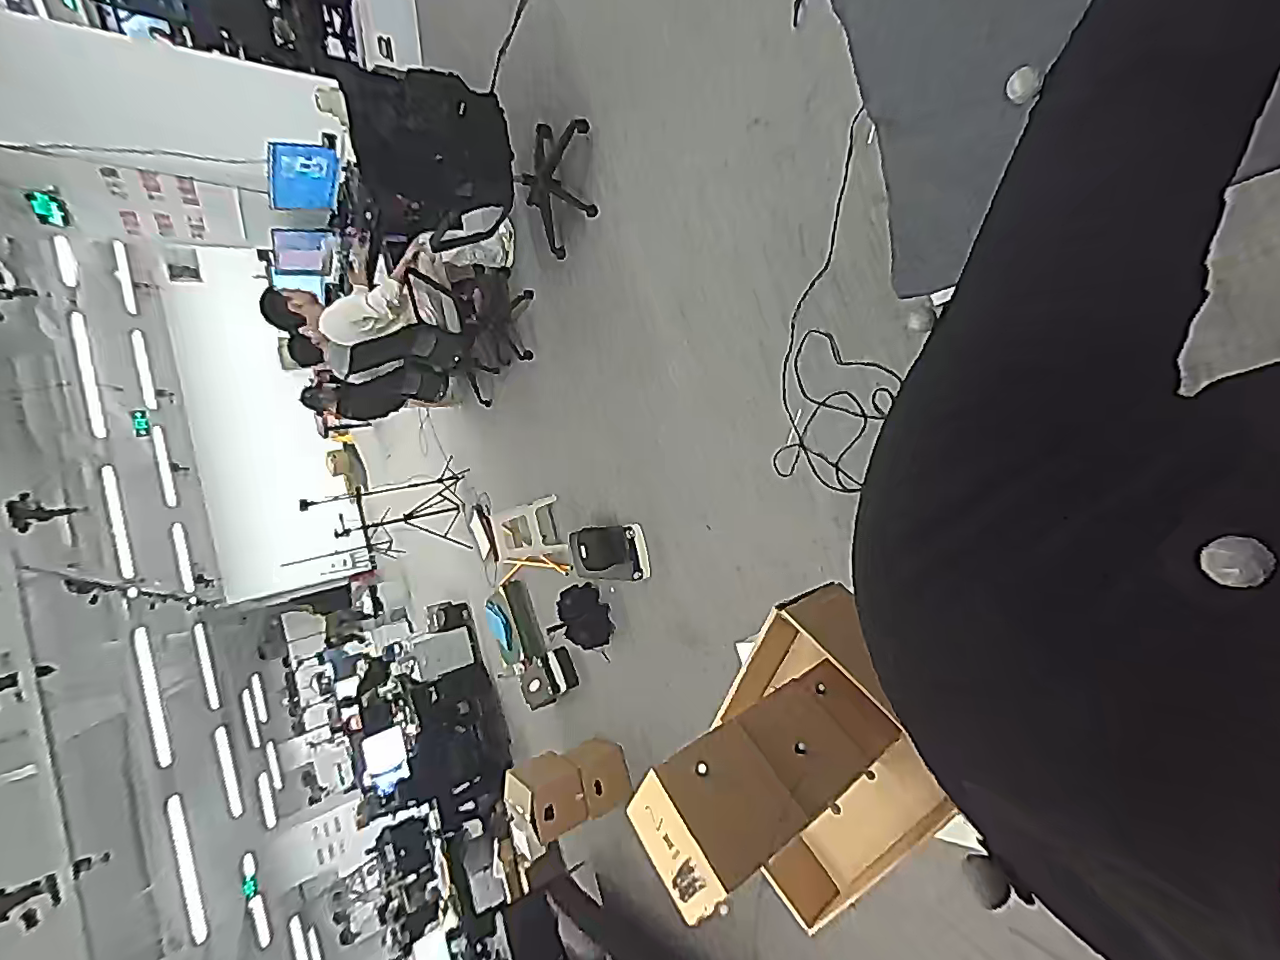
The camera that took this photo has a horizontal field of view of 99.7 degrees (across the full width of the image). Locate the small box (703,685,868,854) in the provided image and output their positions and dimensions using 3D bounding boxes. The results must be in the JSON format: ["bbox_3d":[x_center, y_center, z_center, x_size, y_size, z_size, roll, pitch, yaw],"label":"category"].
[{"bbox_3d":[0.243,0.477,0.921,0.179,0.176,0.168,46,136,35],"label":"small box"}]
